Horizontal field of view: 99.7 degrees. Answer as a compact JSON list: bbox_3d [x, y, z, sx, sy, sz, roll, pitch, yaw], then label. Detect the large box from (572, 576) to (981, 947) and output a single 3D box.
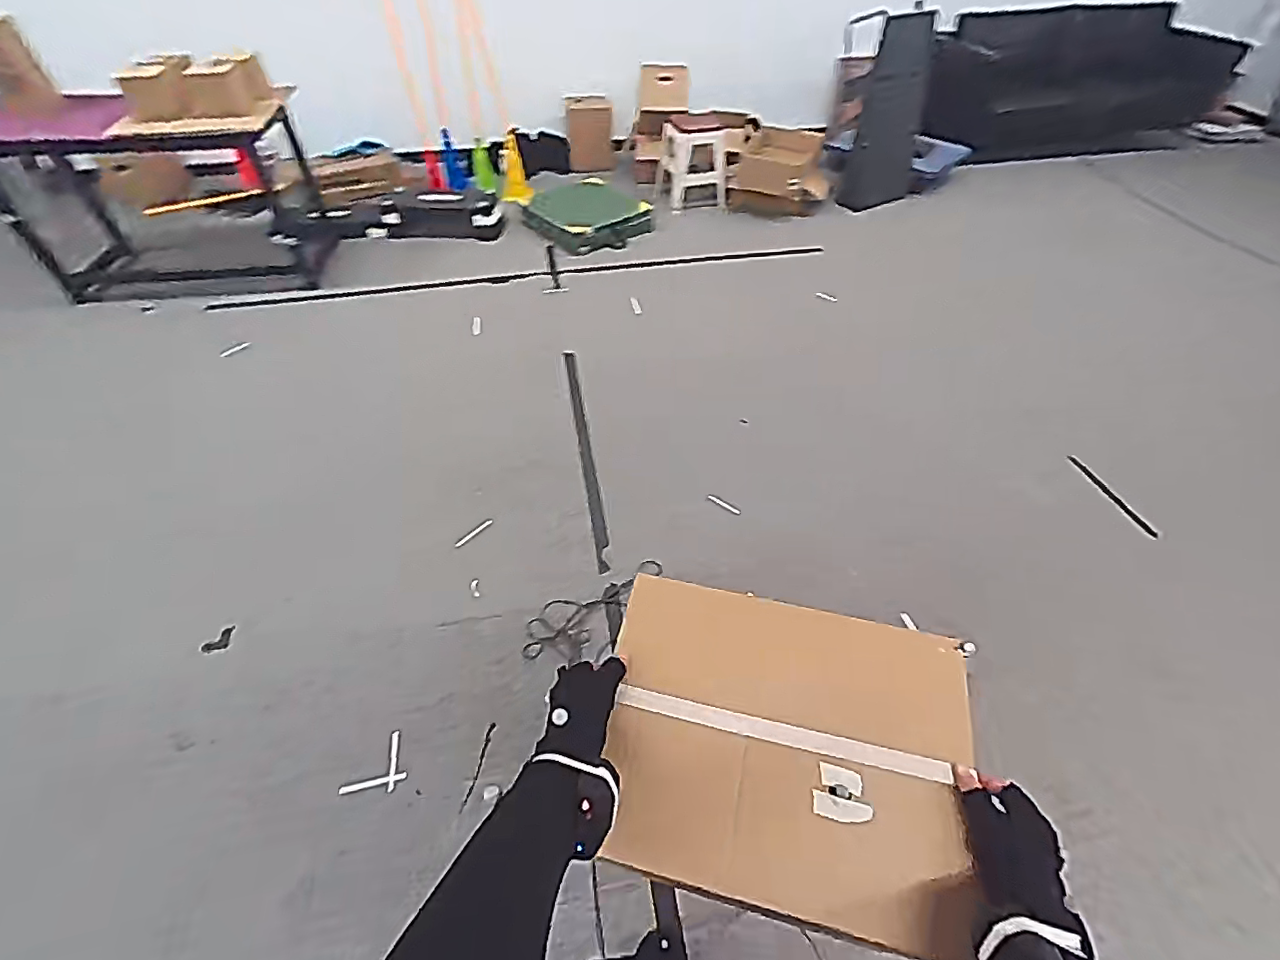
[{"bbox_3d":[0.158,0.366,0.729,0.408,0.320,0.320,10,55,10],"label":"large box"}]
